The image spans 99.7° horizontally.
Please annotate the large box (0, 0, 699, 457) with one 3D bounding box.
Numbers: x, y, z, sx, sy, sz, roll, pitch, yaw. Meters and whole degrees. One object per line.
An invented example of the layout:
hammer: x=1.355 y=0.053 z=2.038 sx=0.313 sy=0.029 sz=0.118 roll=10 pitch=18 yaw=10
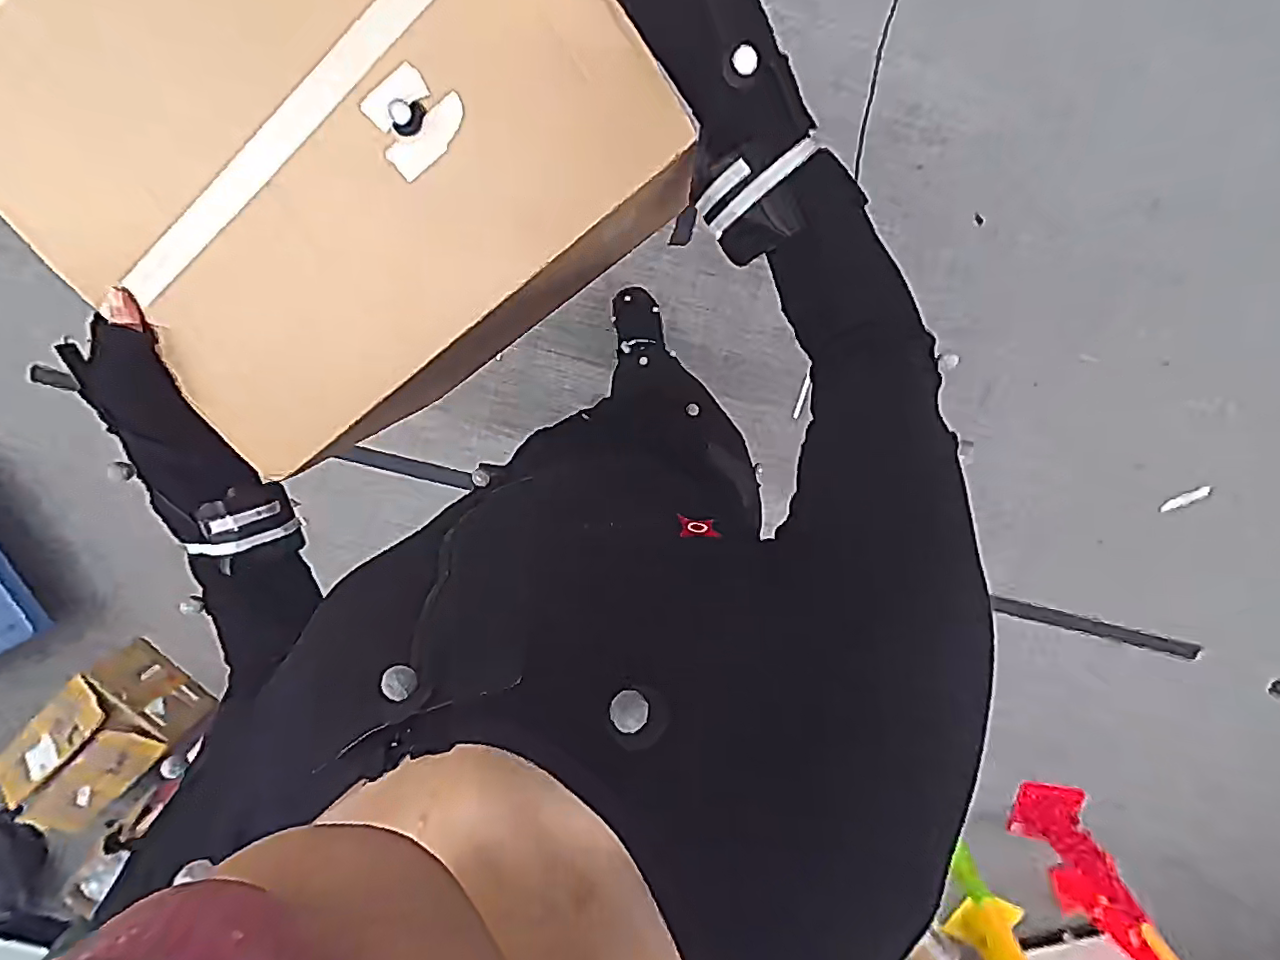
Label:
large box: x=-0.198 y=-0.286 z=0.494 sx=0.408 sy=0.320 sz=0.320 roll=-33 pitch=105 yaw=14
